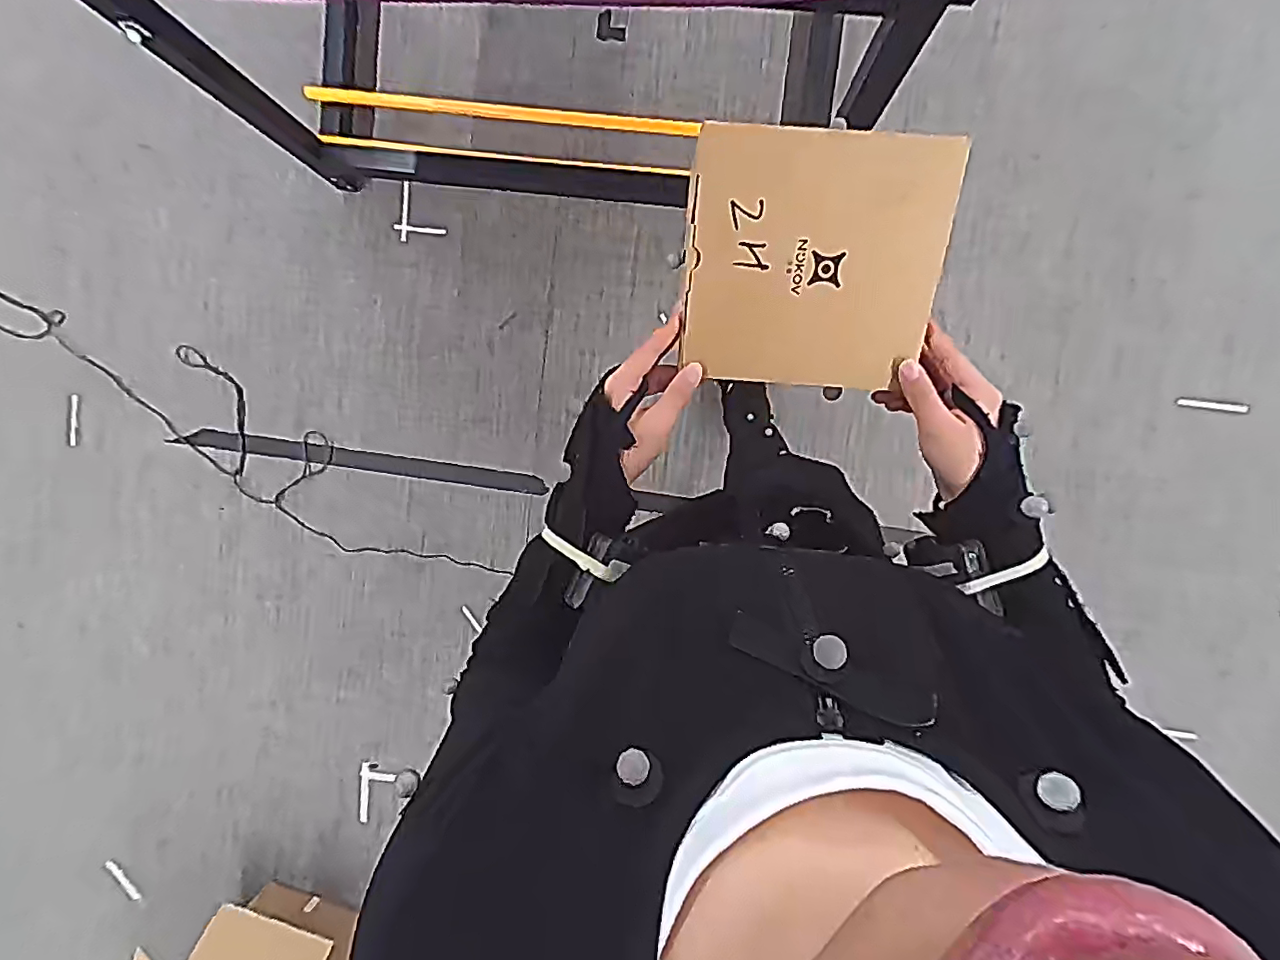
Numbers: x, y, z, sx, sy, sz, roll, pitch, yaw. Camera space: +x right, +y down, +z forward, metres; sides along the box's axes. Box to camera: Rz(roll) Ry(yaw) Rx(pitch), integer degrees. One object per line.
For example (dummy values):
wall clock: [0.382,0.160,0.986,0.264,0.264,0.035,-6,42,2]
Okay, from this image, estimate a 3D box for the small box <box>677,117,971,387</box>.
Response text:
small box: [0.126,-0.181,0.452,0.179,0.176,0.168,5,111,1]
